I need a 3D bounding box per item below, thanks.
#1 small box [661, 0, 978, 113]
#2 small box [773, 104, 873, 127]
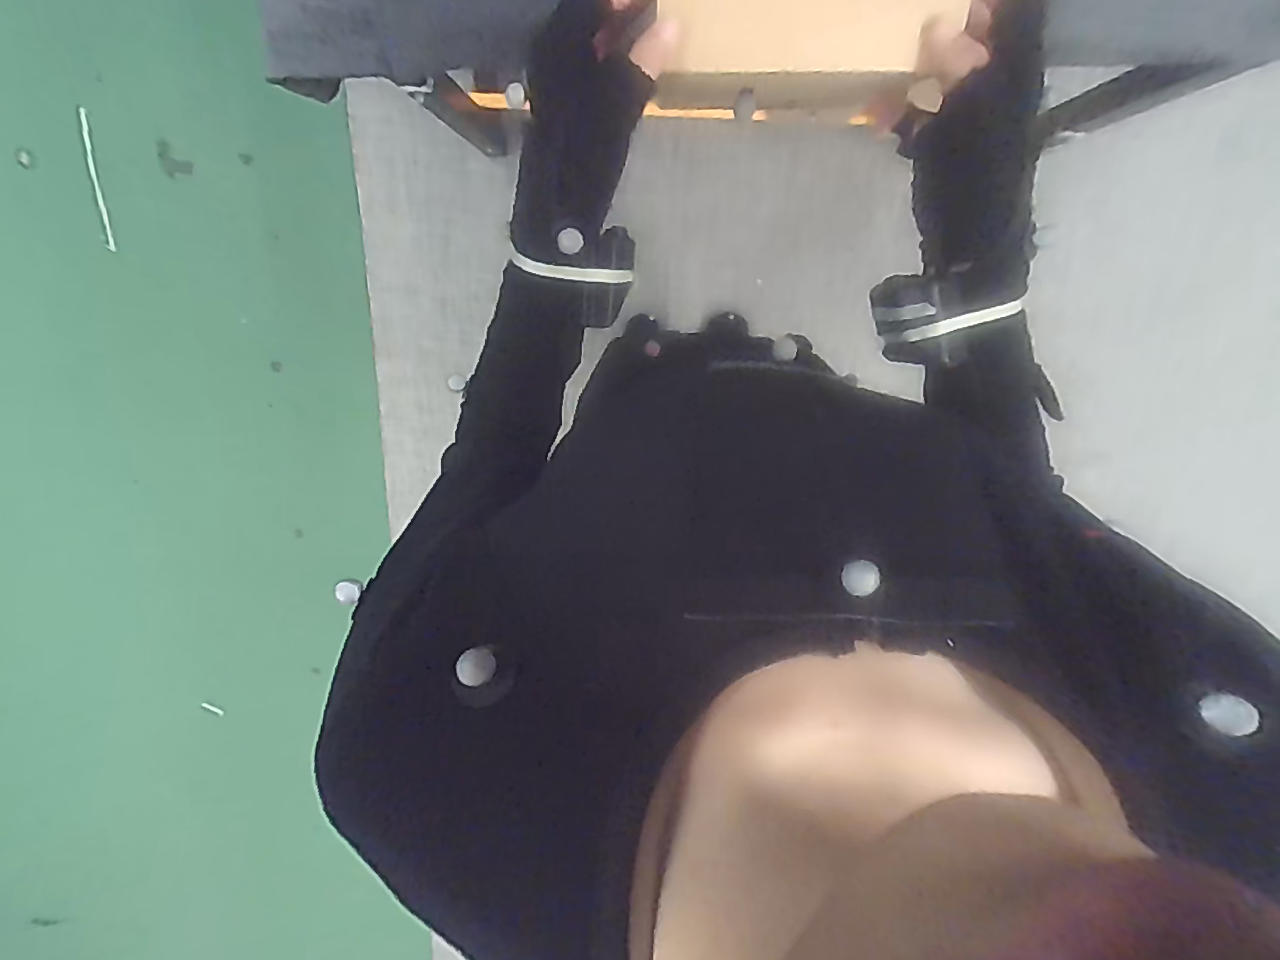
[{"bbox_3d":[0.098,-0.337,0.328,0.168,0.176,0.179,1,116,2],"label":"small box"},{"bbox_3d":[0.358,-0.799,1.037,0.168,0.176,0.179,3,109,2],"label":"small box"}]
